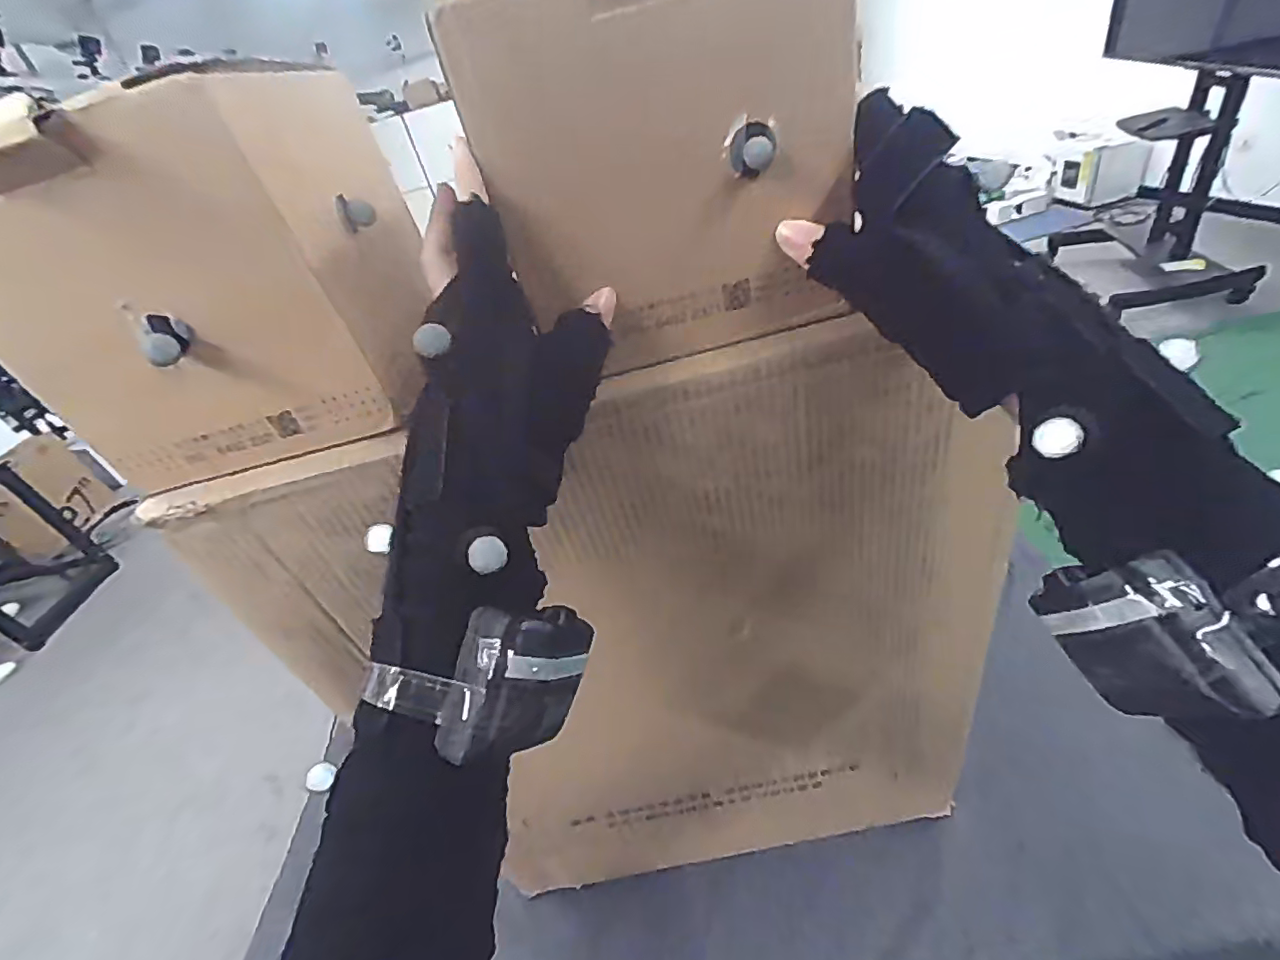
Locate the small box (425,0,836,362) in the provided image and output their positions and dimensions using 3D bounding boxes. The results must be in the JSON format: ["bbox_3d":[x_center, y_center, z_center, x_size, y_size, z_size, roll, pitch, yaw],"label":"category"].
[{"bbox_3d":[0.006,-0.181,0.312,0.168,0.176,0.179,-12,37,3],"label":"small box"}]

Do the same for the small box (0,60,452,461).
[{"bbox_3d":[-0.236,-0.128,0.331,0.168,0.176,0.179,-13,38,4],"label":"small box"}]
